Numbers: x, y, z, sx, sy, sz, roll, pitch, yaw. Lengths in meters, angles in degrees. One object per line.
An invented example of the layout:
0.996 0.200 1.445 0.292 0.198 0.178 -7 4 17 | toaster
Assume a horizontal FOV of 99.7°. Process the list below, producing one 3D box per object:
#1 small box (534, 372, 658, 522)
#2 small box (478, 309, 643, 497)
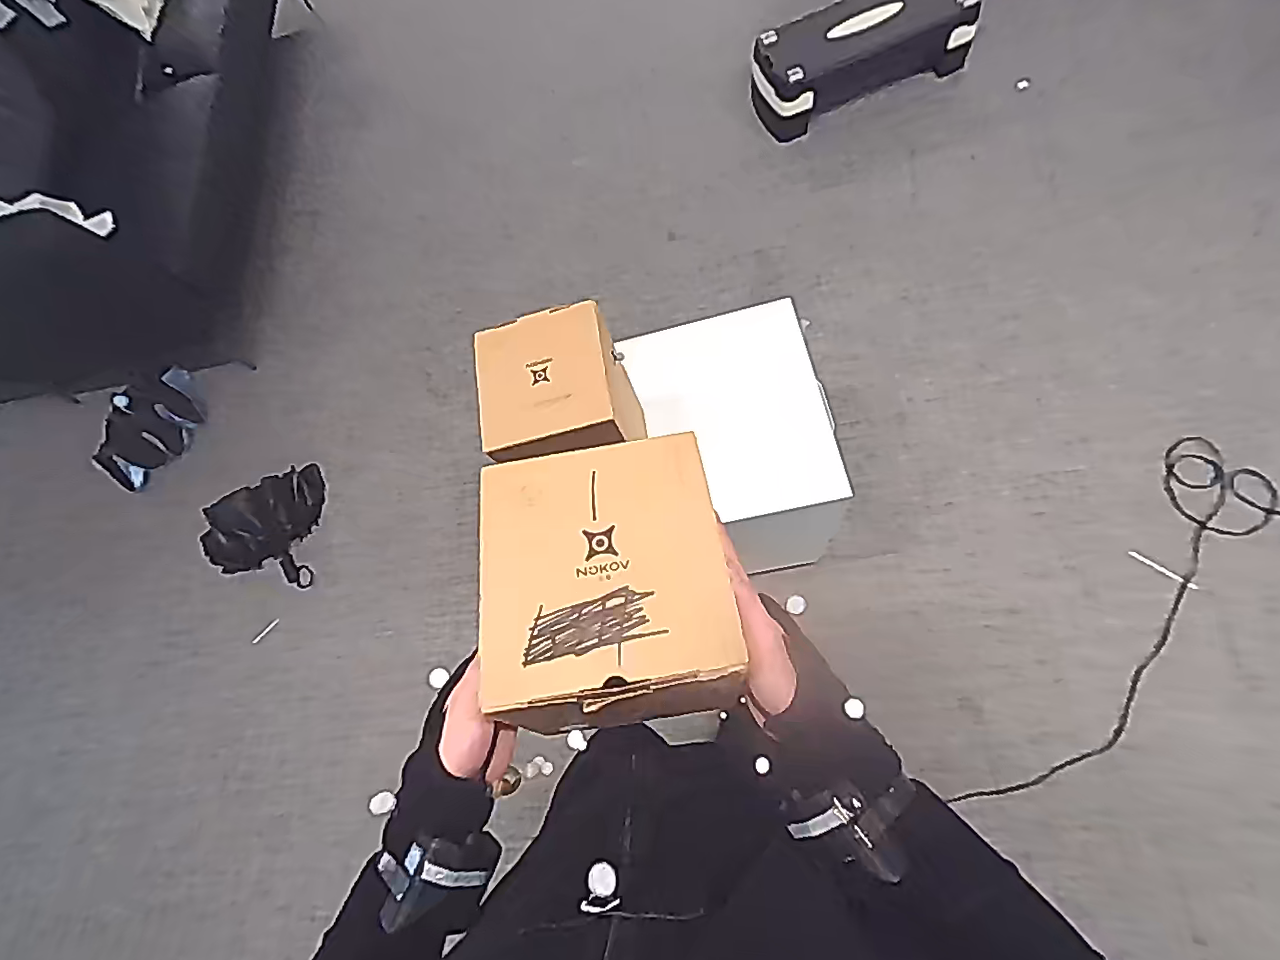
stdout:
-0.073 -0.047 0.892 0.168 0.176 0.179 -12 68 8 | small box
-0.103 -0.095 0.740 0.168 0.176 0.179 -15 69 9 | small box
